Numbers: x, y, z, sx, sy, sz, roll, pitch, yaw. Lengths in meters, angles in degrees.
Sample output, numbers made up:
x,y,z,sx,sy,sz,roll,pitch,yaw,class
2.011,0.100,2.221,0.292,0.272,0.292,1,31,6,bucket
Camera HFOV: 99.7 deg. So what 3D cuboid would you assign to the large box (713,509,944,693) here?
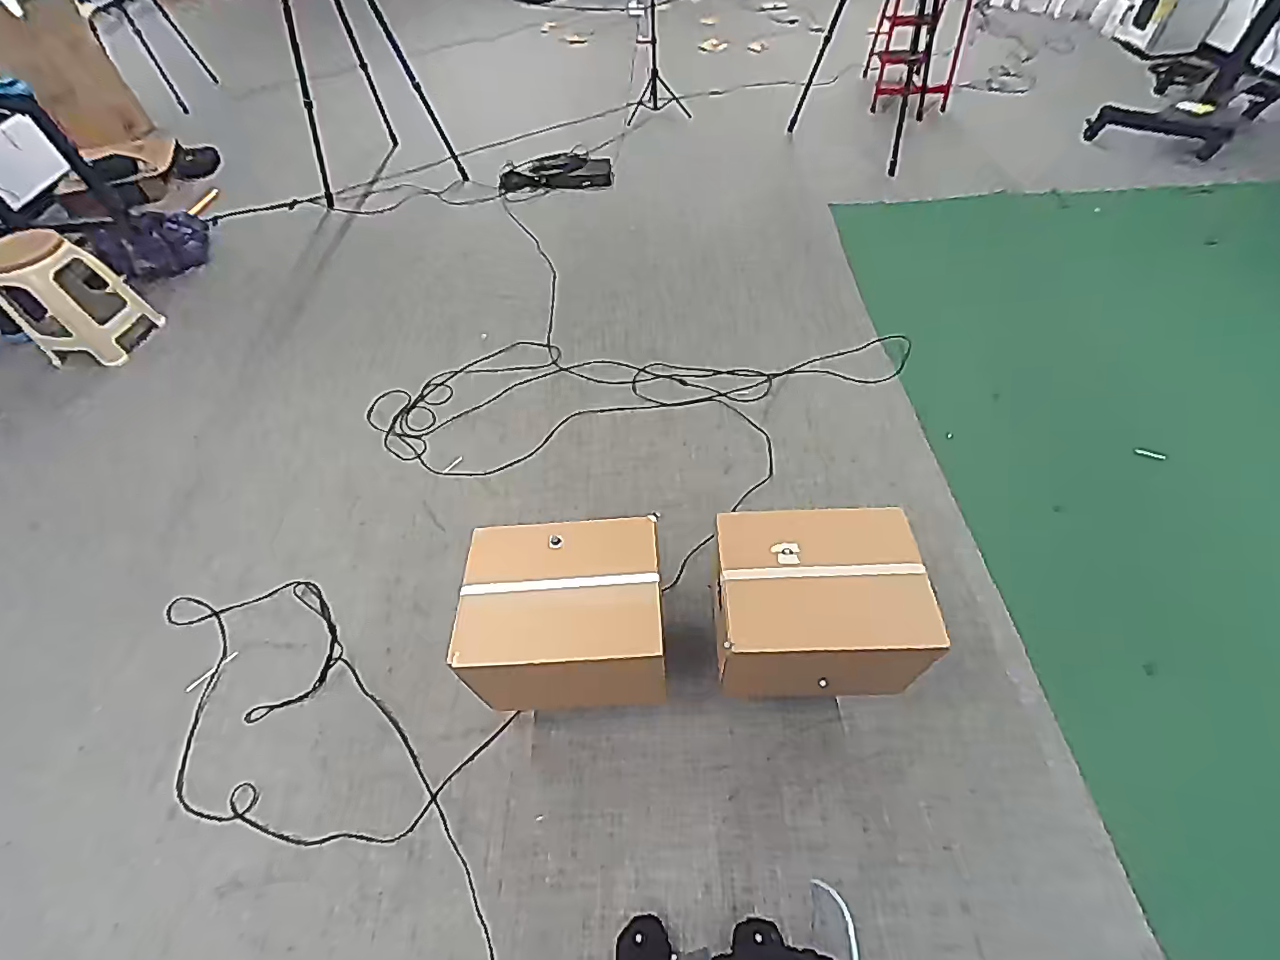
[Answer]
x,y,z,sx,sy,sz,roll,pitch,yaw,class
0.382,0.283,1.222,0.408,0.320,0.320,-2,53,3,large box
